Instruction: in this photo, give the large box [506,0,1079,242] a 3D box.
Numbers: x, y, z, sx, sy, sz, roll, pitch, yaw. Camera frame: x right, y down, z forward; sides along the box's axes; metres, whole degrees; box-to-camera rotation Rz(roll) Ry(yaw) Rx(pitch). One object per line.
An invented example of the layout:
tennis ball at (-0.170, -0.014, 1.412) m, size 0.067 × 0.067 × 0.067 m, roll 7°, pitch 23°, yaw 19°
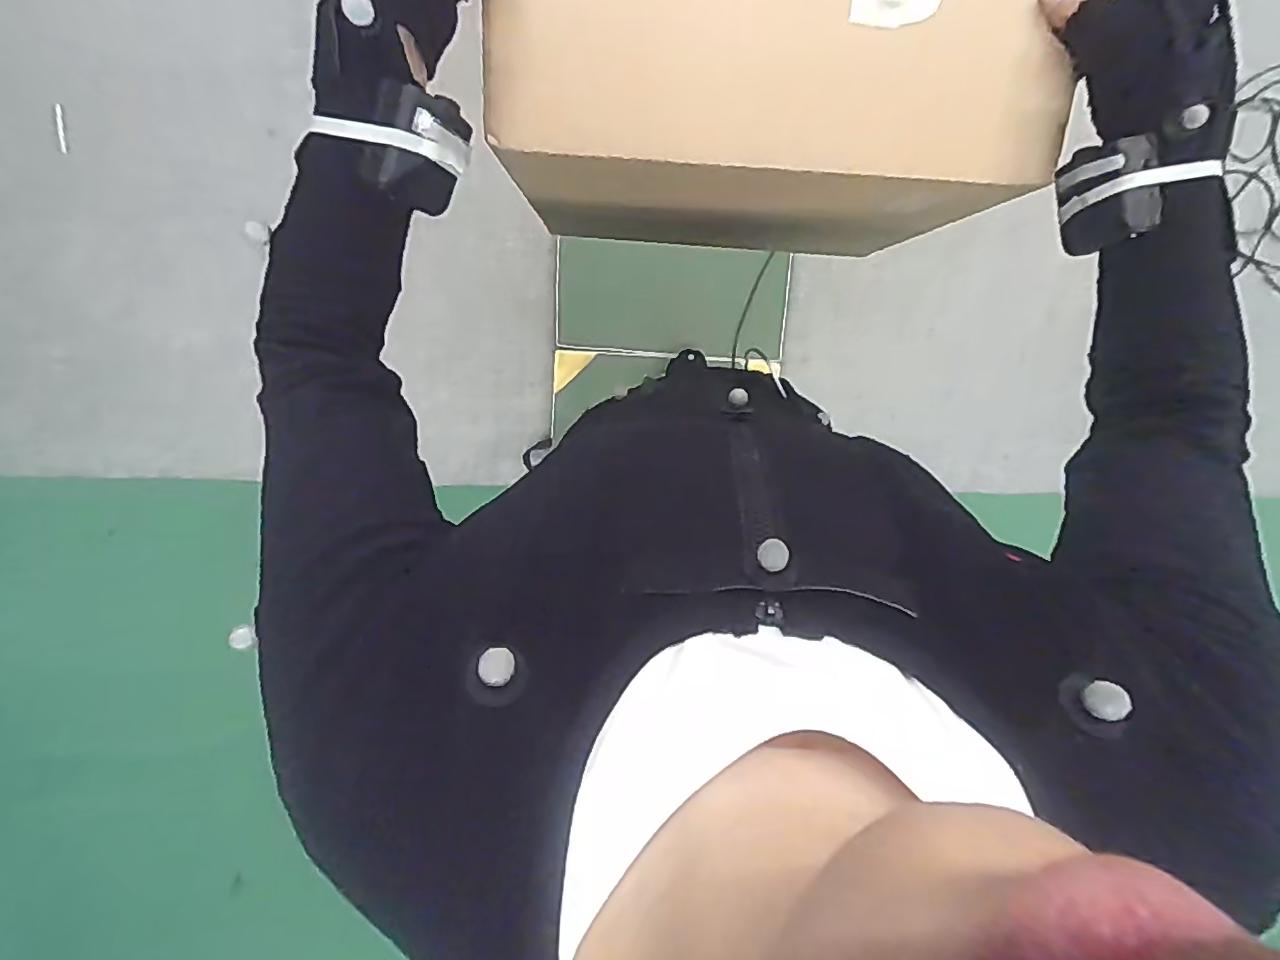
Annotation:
large box at (0.102, -0.419, 0.501) m, size 0.408 × 0.320 × 0.320 m, roll 2°, pitch 104°, yaw -3°
